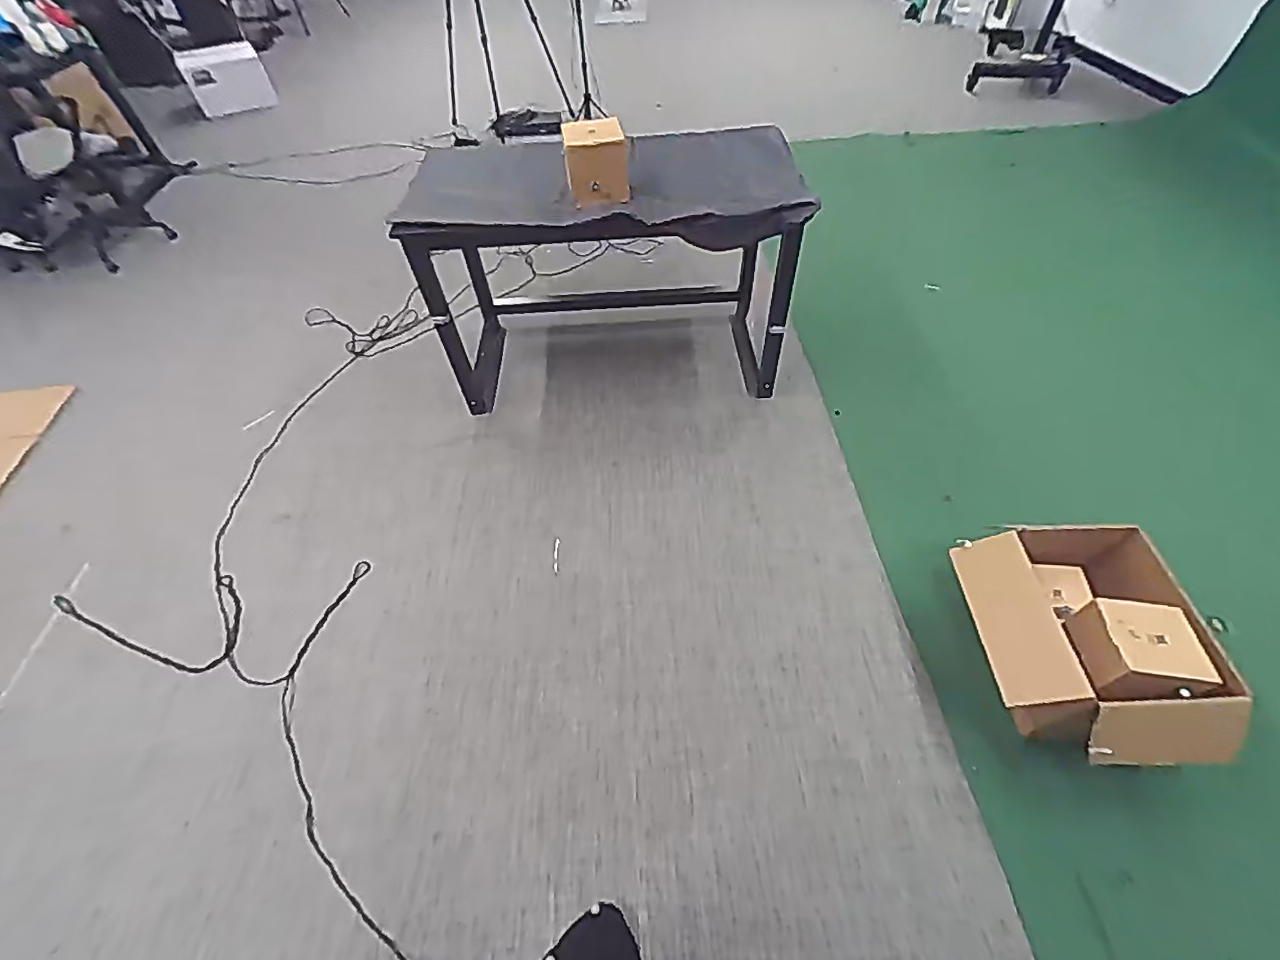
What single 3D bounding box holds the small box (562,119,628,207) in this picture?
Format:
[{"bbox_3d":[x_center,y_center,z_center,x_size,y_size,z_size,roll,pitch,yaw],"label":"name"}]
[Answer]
[{"bbox_3d":[-0.131,-0.919,1.569,0.168,0.176,0.179,-9,52,-5],"label":"small box"}]
